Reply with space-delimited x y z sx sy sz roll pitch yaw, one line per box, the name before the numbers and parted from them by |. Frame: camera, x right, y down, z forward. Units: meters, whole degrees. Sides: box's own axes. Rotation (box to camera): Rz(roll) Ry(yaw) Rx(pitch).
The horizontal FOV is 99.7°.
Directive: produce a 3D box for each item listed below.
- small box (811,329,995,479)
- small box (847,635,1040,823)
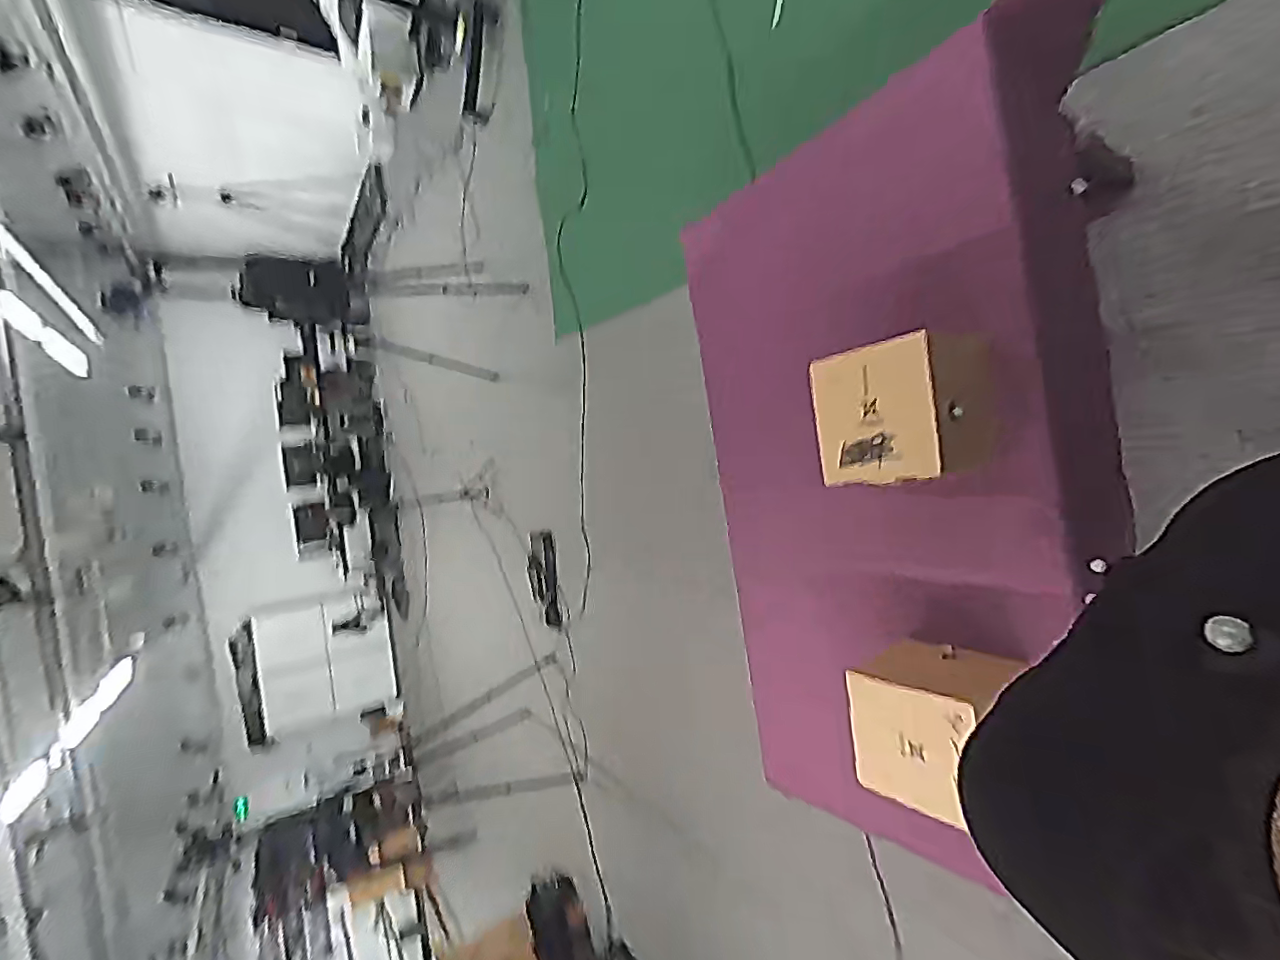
small box | 0.367 -0.102 0.754 0.168 0.176 0.179 -6 91 55
small box | 0.425 0.330 0.763 0.179 0.176 0.168 -5 94 56
